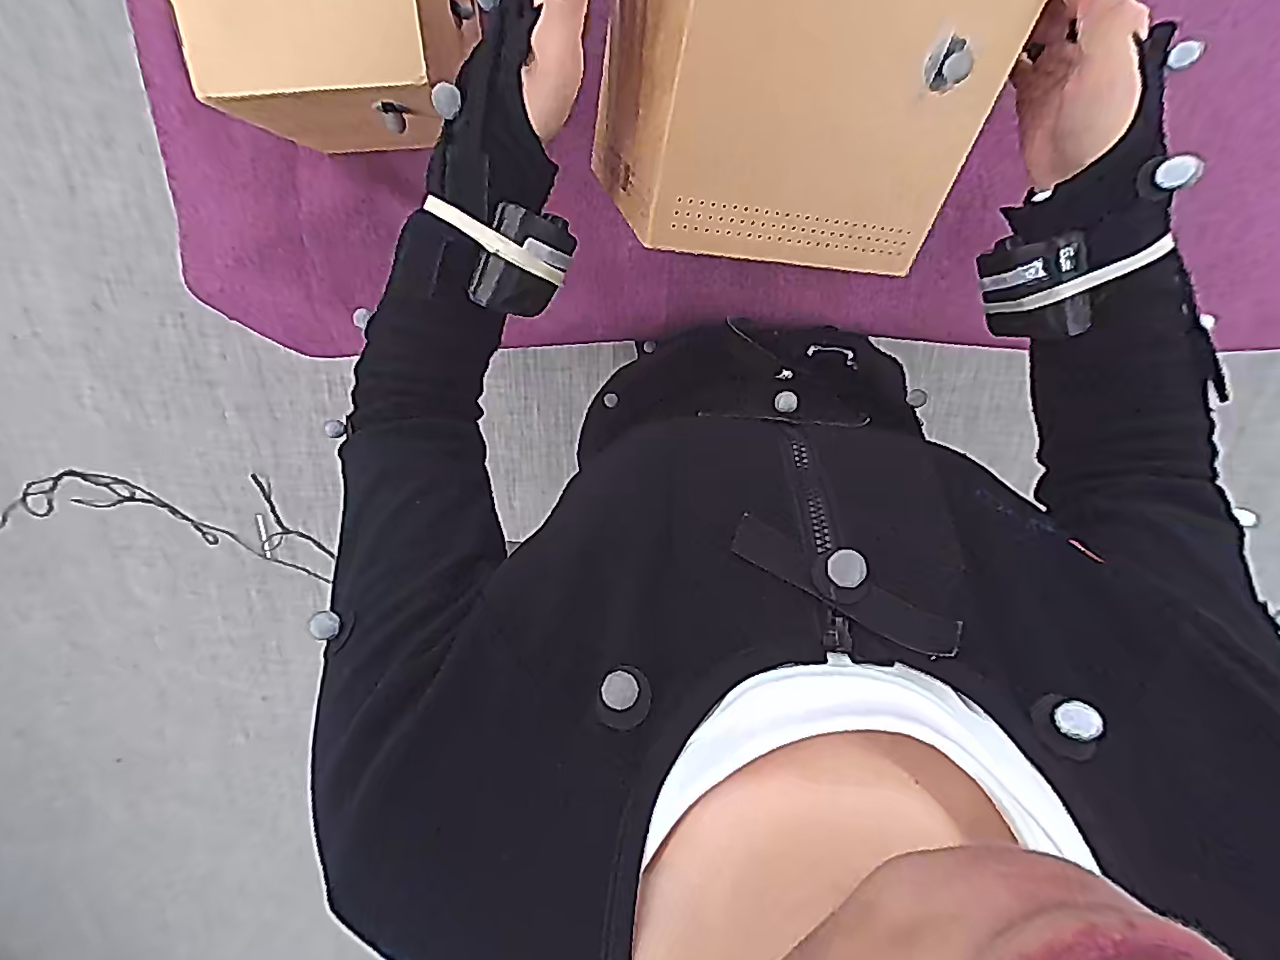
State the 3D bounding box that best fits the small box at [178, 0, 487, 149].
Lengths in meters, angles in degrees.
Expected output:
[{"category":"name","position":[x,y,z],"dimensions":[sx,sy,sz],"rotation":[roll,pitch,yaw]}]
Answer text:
[{"category":"small box","position":[-0.234,-0.384,0.440],"dimensions":[0.179,0.176,0.168],"rotation":[-1,109,2]}]
